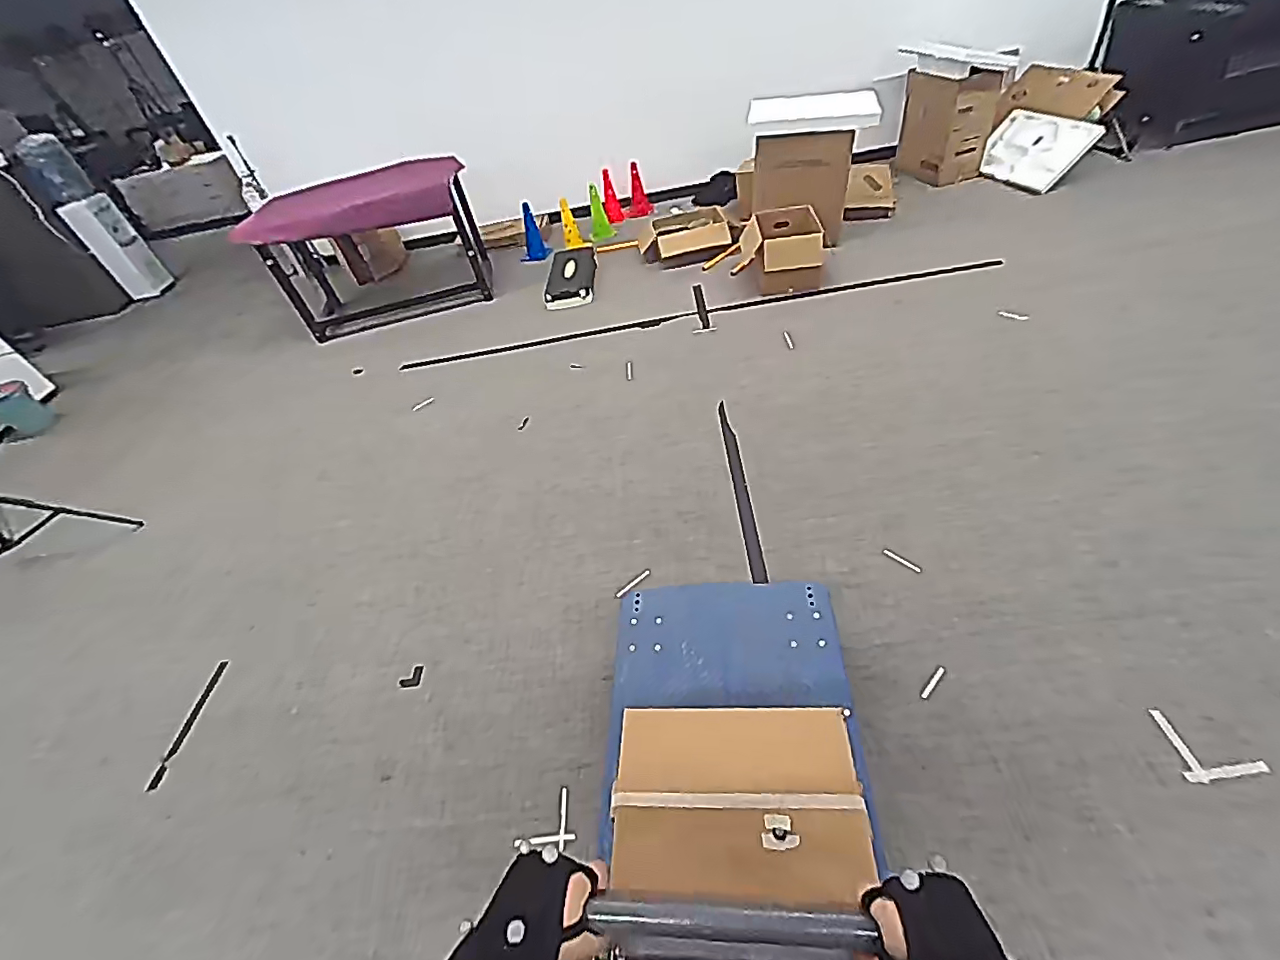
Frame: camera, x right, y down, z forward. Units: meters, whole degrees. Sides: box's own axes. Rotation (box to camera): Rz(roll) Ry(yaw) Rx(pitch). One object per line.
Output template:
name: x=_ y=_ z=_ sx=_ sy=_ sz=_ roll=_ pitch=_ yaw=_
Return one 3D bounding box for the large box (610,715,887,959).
large box: x=0.176 y=0.648 z=0.981 sx=0.408 sy=0.320 sz=0.320 roll=-4 pitch=44 yaw=8
